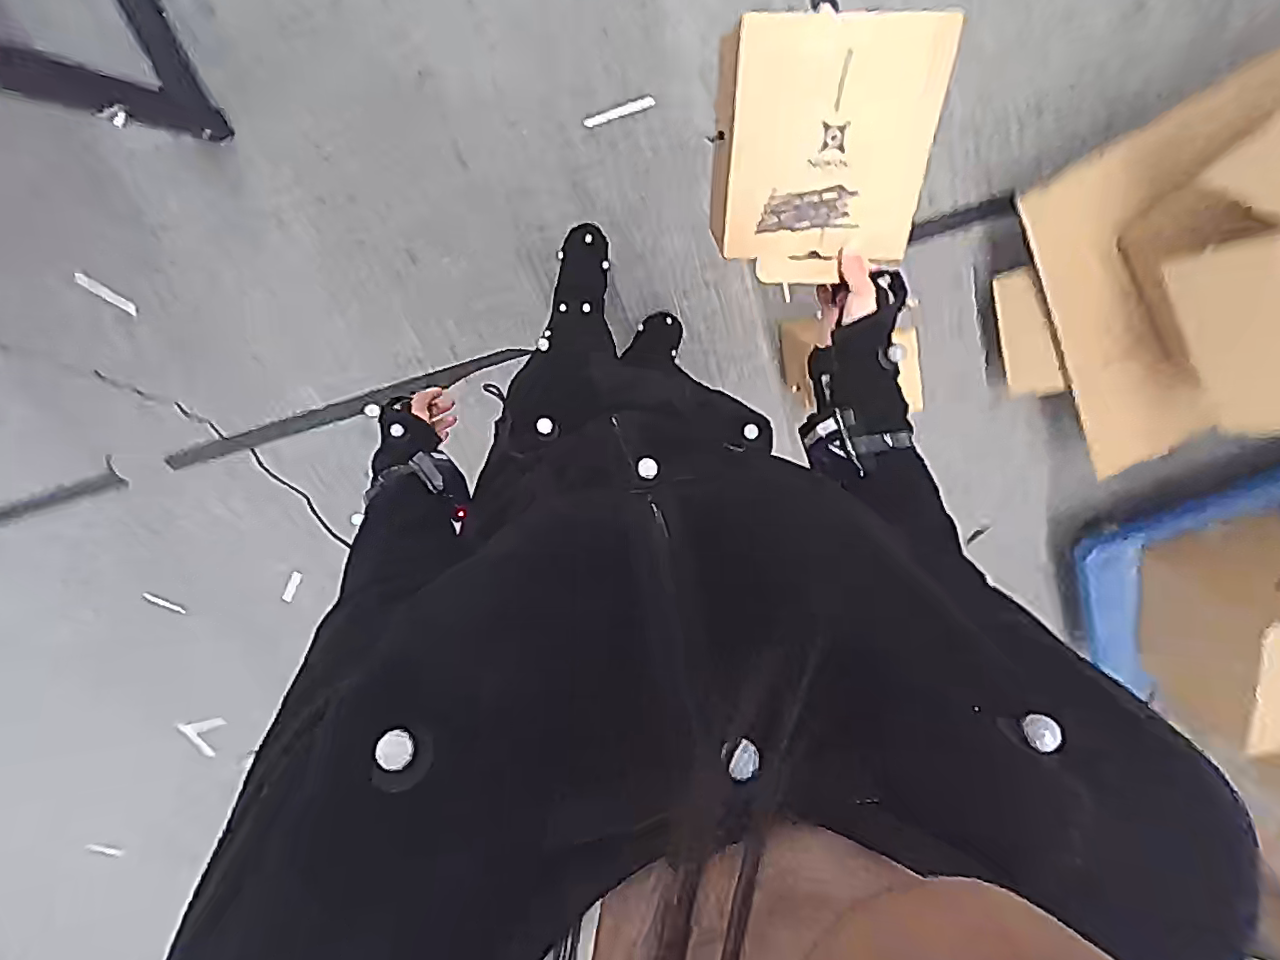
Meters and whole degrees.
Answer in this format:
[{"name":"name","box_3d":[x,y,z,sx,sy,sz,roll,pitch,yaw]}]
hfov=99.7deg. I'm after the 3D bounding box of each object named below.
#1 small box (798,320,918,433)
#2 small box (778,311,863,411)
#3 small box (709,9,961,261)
[{"name":"small box","box_3d":[0.450,-0.221,1.128,0.179,0.176,0.168,-16,115,6]},{"name":"small box","box_3d":[0.434,-0.285,1.277,0.168,0.176,0.179,-12,115,4]},{"name":"small box","box_3d":[0.156,-0.316,0.508,0.168,0.176,0.179,0,124,1]}]
